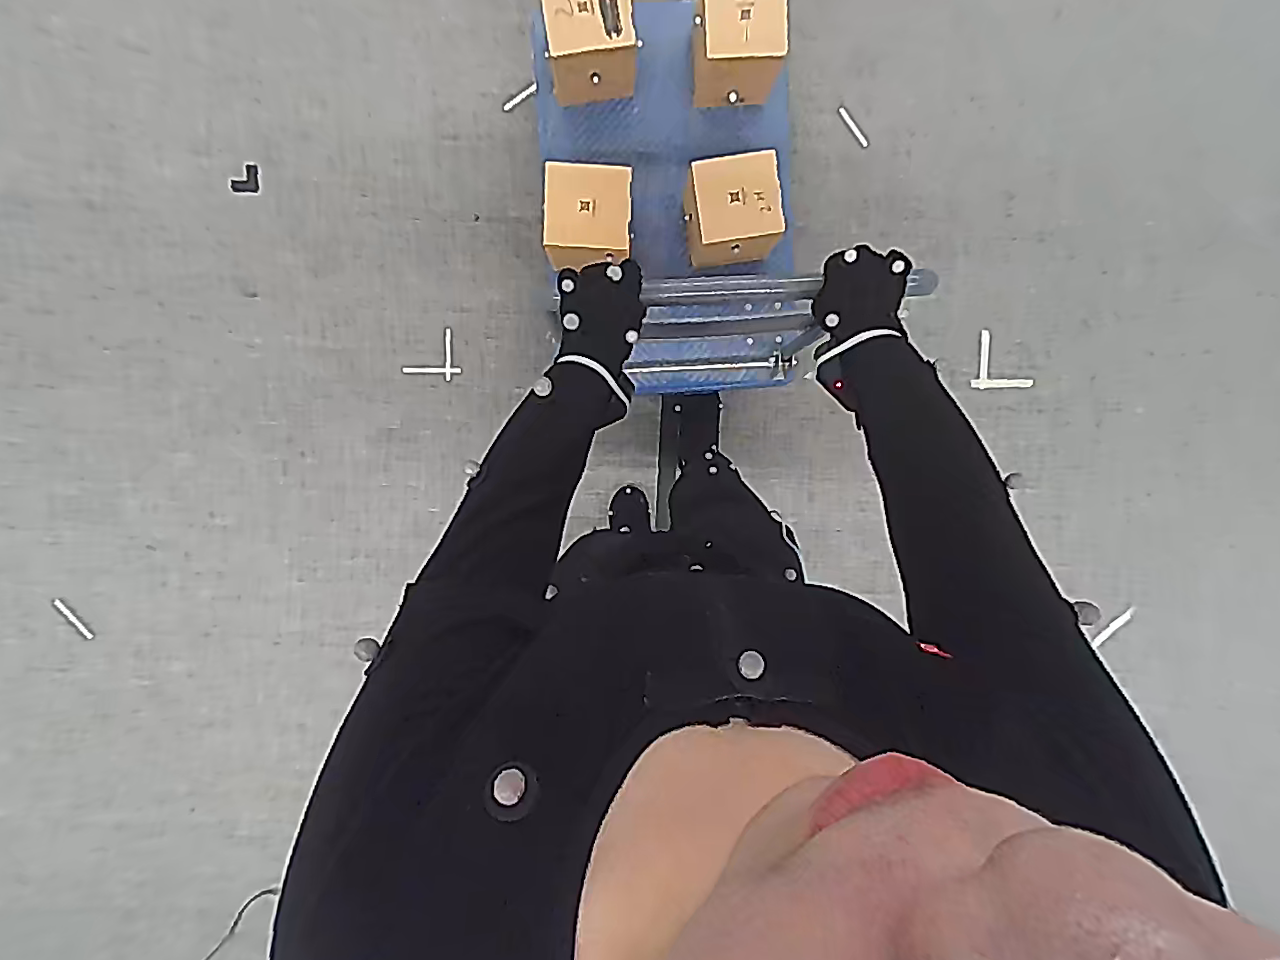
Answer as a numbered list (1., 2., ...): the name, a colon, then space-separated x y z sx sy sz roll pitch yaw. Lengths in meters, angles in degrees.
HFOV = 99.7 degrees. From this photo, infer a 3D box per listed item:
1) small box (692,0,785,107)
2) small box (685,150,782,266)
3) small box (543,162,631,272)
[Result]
1. small box: 0.204 -0.939 1.155 0.168 0.176 0.179 -3 96 -1
2. small box: 0.195 -0.584 1.184 0.179 0.176 0.168 -9 95 -1
3. small box: -0.111 -0.563 1.177 0.179 0.176 0.168 2 94 -3
